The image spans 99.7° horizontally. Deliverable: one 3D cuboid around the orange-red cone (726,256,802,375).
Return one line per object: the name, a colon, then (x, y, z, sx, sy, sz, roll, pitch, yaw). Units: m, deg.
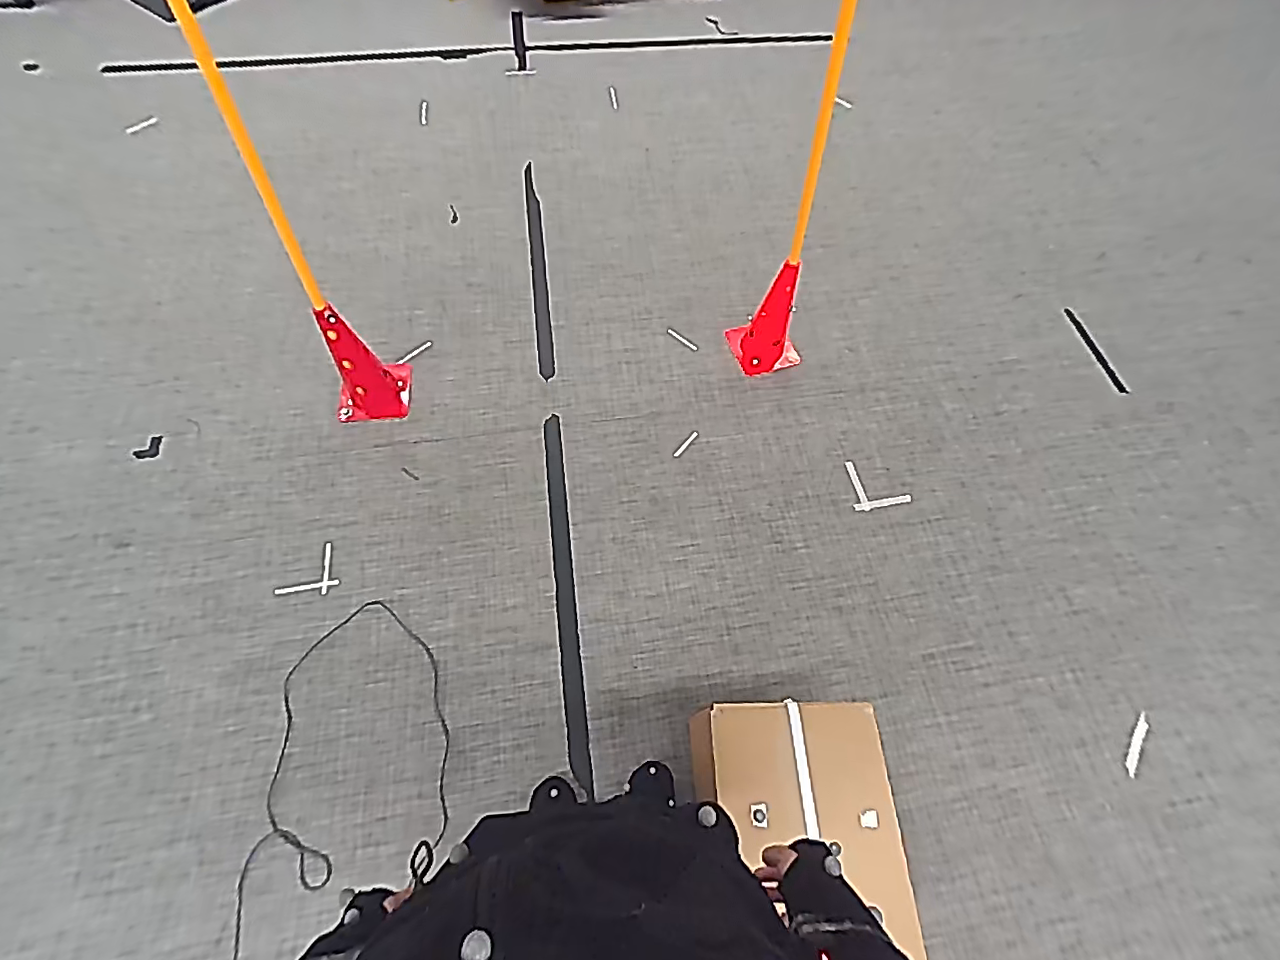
orange-red cone: (0.406, -0.509, 1.599, 0.199, 0.360, 0.198, -15, 66, -11)
